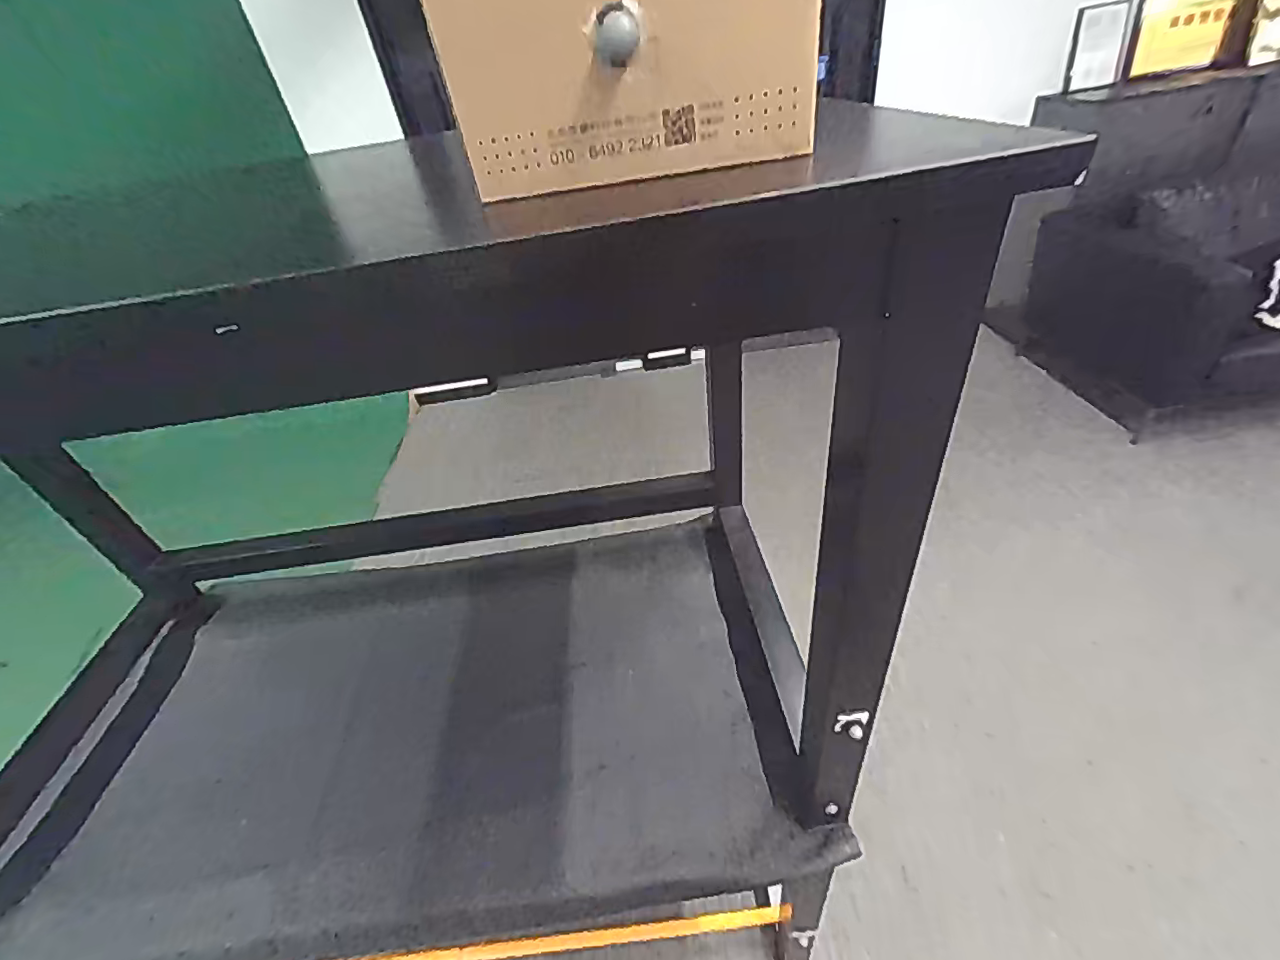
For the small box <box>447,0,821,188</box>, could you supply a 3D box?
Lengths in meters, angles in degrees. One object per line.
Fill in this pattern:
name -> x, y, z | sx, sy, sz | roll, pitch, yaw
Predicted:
small box -> -0.003, -0.265, 0.283 | 0.168, 0.176, 0.179 | -4, 38, 8
